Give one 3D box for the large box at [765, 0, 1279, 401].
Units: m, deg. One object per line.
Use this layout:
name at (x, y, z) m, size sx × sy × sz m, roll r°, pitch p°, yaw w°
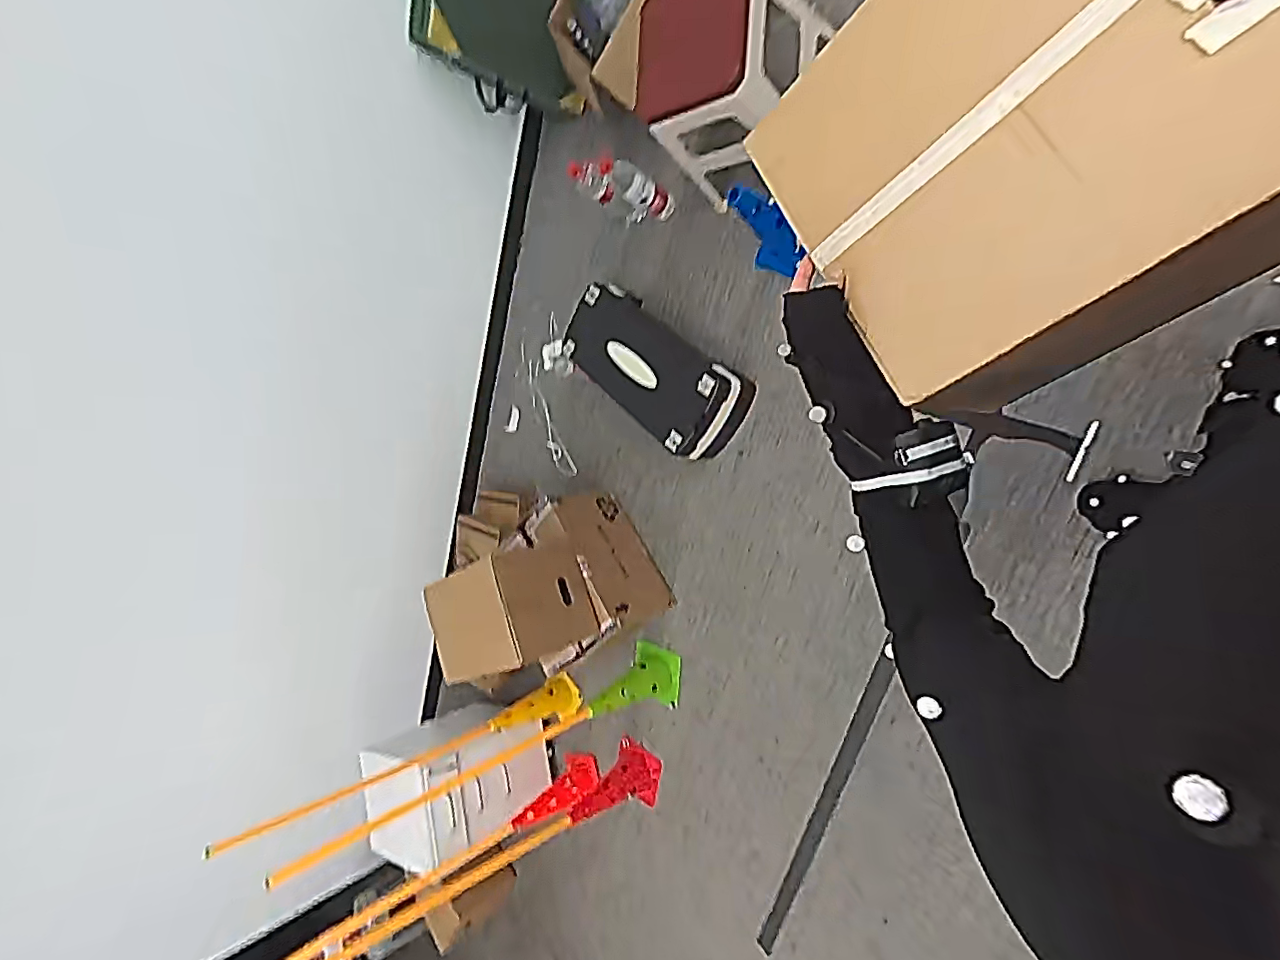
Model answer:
large box at (0.398, -0.310, 0.470) m, size 0.408 × 0.320 × 0.320 m, roll -35°, pitch 70°, yaw 39°
